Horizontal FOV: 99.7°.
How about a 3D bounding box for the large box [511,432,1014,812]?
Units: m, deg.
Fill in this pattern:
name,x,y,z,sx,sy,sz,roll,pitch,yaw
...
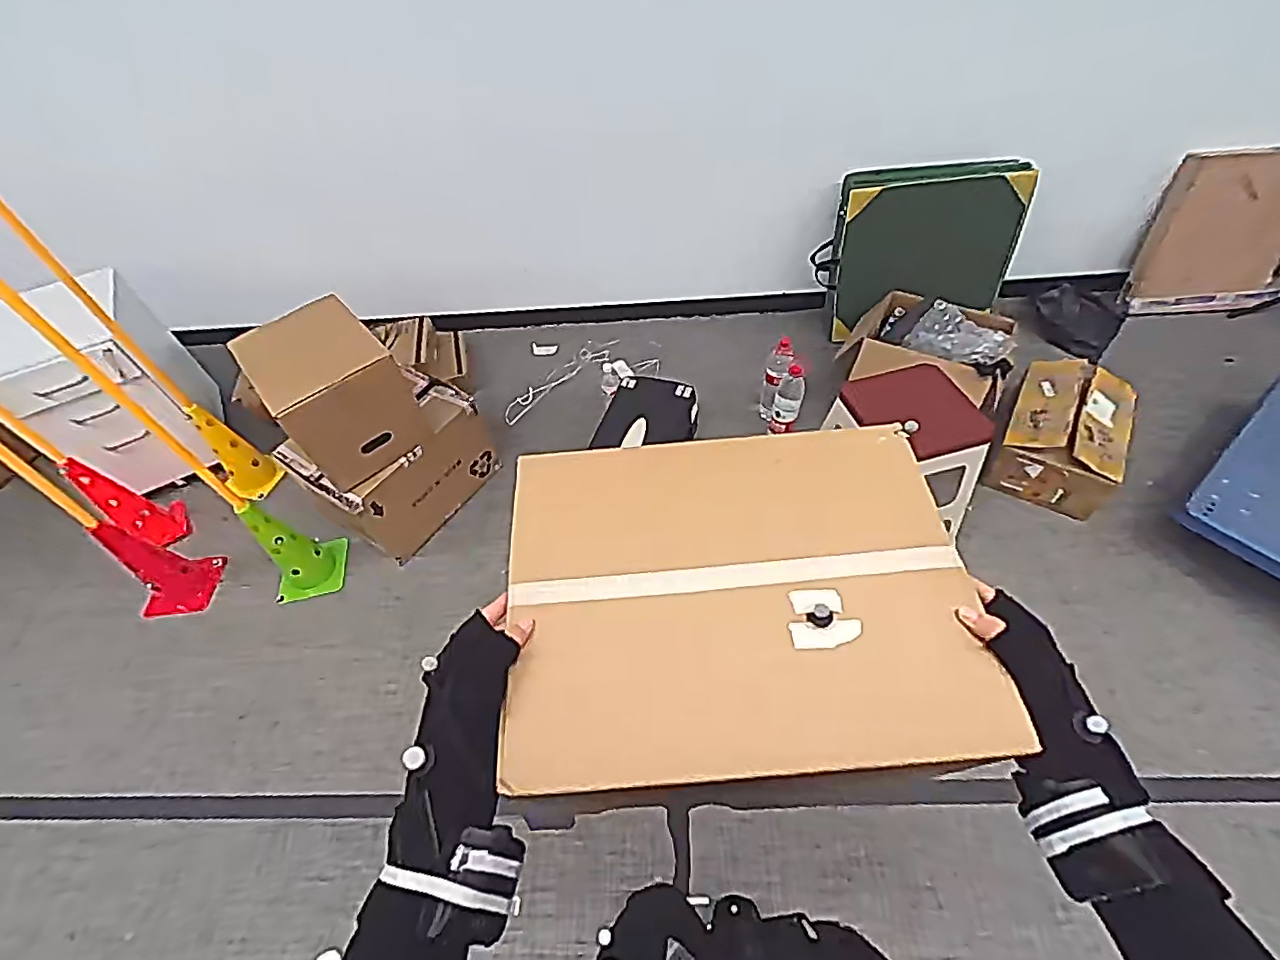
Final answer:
name,x,y,z,sx,sy,sz,roll,pitch,yaw
large box,0.090,0.176,0.623,0.408,0.320,0.320,-5,56,0
